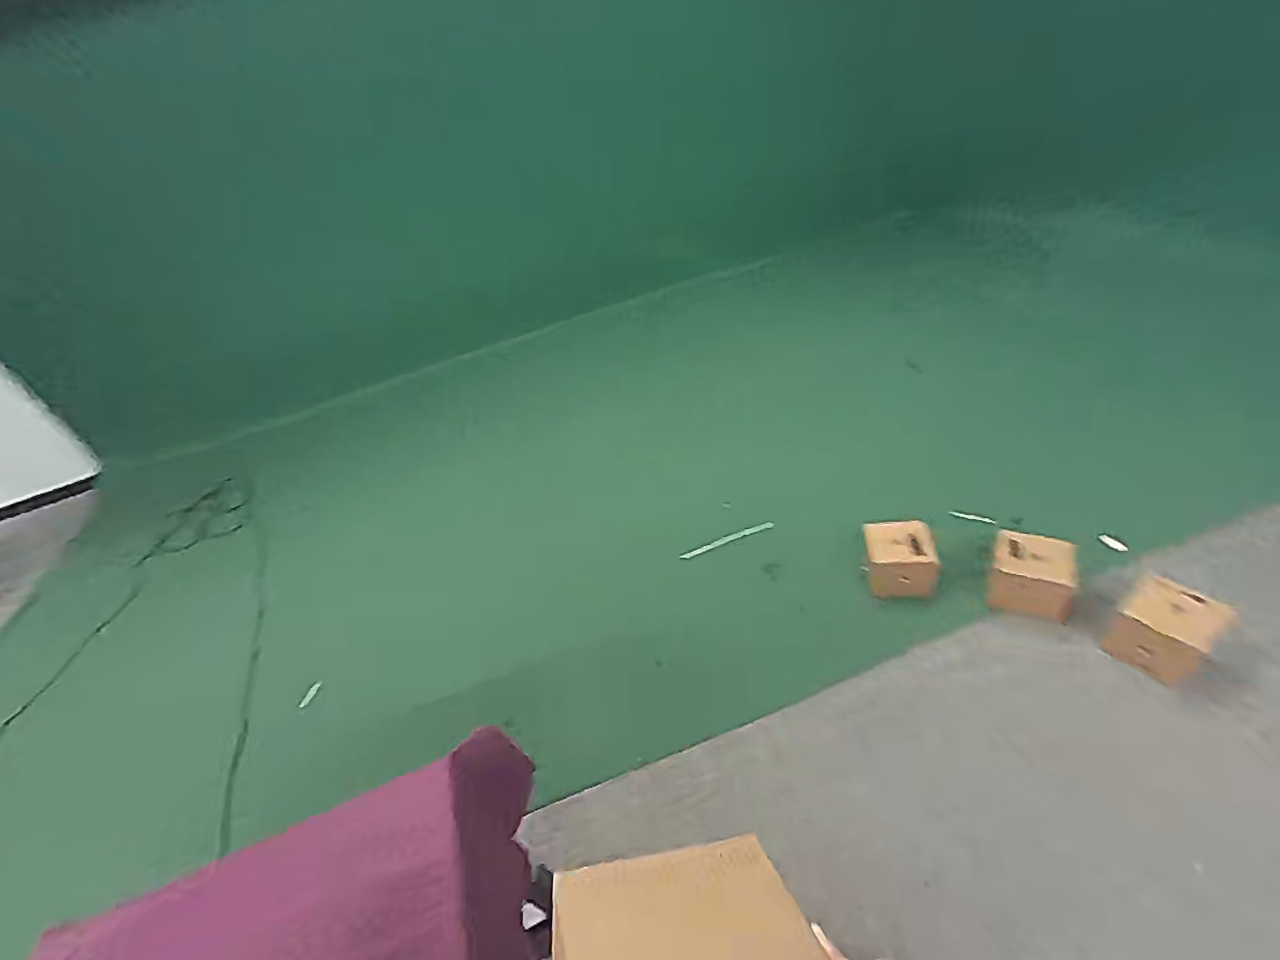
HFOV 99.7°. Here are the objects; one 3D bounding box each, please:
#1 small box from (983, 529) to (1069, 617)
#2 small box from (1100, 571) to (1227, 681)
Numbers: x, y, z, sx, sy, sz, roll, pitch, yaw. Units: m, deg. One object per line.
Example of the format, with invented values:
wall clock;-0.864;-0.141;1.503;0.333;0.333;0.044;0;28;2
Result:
small box;1.118;0.272;1.574;0.179;0.176;0.168;11;46;28
small box;1.324;0.374;1.381;0.179;0.176;0.168;-33;42;-19
